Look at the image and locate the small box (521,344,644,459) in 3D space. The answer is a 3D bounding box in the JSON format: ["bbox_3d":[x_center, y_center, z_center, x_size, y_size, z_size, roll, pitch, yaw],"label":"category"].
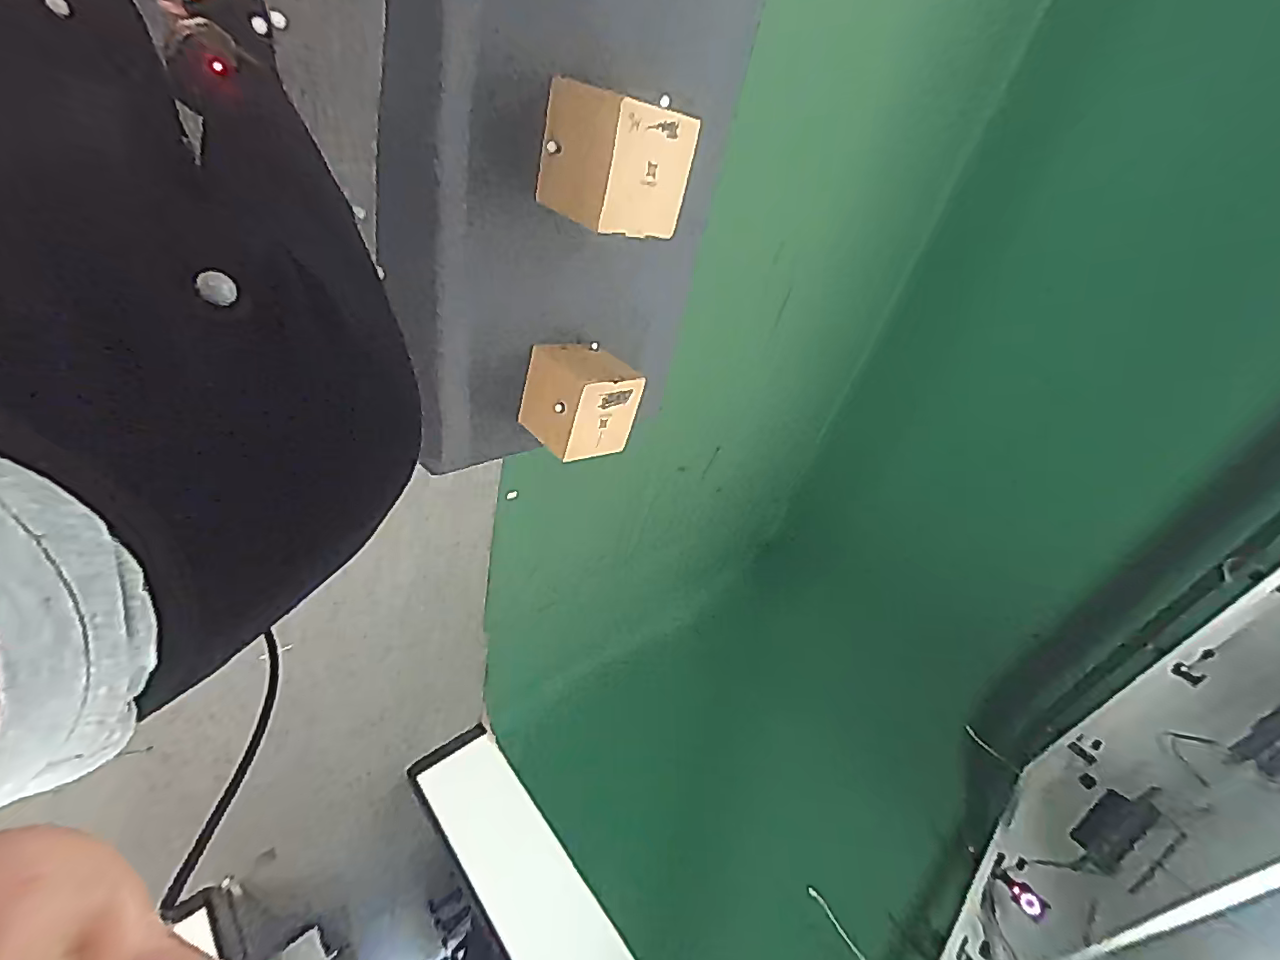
[{"bbox_3d":[-0.124,-0.169,1.108,0.168,0.176,0.179,-14,135,-44],"label":"small box"}]

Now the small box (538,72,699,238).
[{"bbox_3d":[-0.042,-0.505,0.850,0.168,0.176,0.179,-19,138,-41],"label":"small box"}]
